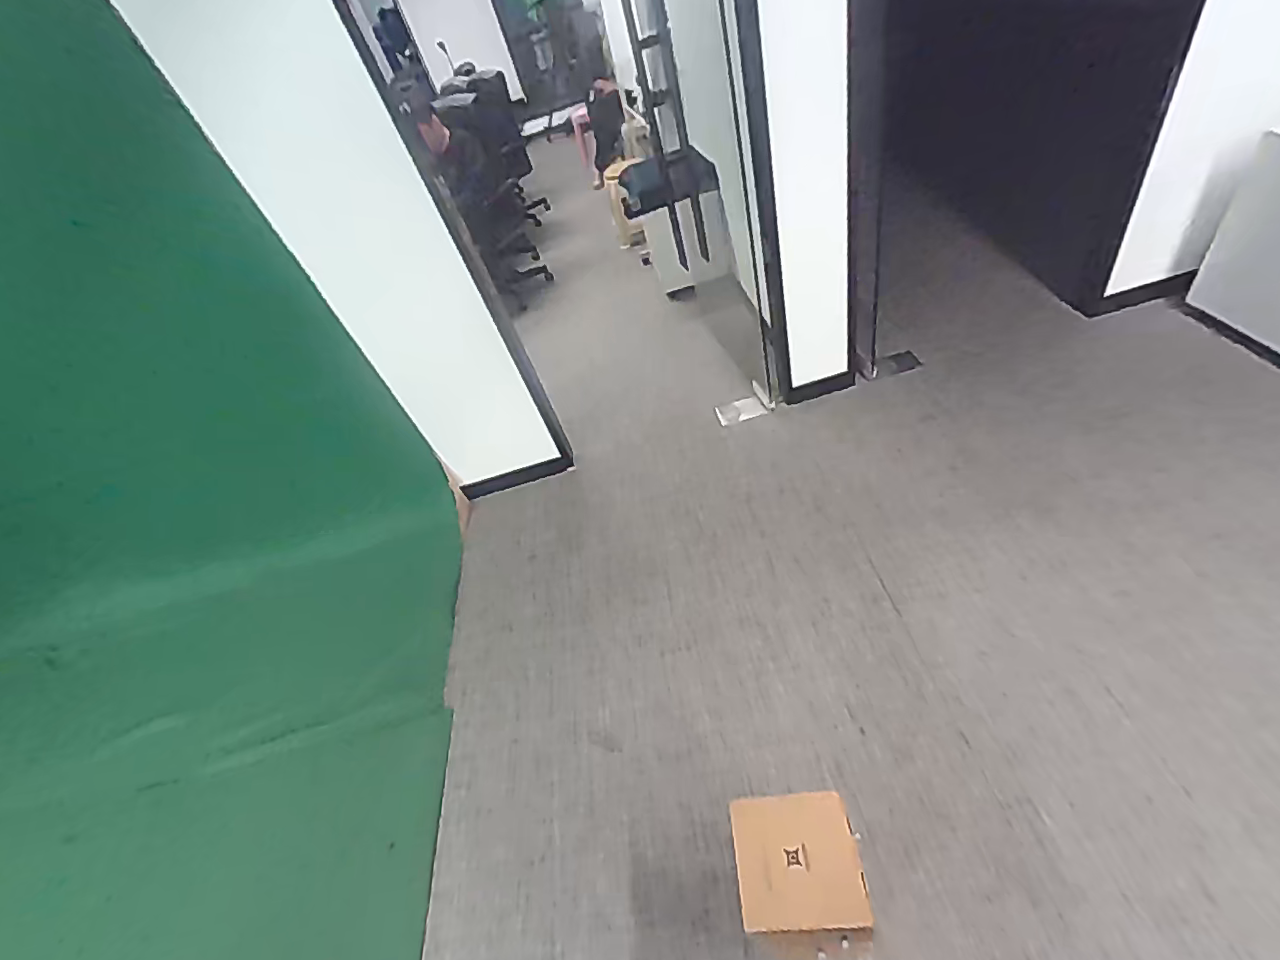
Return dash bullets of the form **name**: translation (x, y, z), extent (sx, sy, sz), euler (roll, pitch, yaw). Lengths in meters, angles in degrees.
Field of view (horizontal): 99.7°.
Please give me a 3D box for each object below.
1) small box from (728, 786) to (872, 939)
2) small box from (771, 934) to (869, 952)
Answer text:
- **small box**: translation (0.246, 0.598, 0.843), extent (0.179, 0.176, 0.168), euler (-13, 43, 11)
- **small box**: translation (0.337, 0.816, 1.068), extent (0.179, 0.176, 0.168), euler (-13, 43, 11)
